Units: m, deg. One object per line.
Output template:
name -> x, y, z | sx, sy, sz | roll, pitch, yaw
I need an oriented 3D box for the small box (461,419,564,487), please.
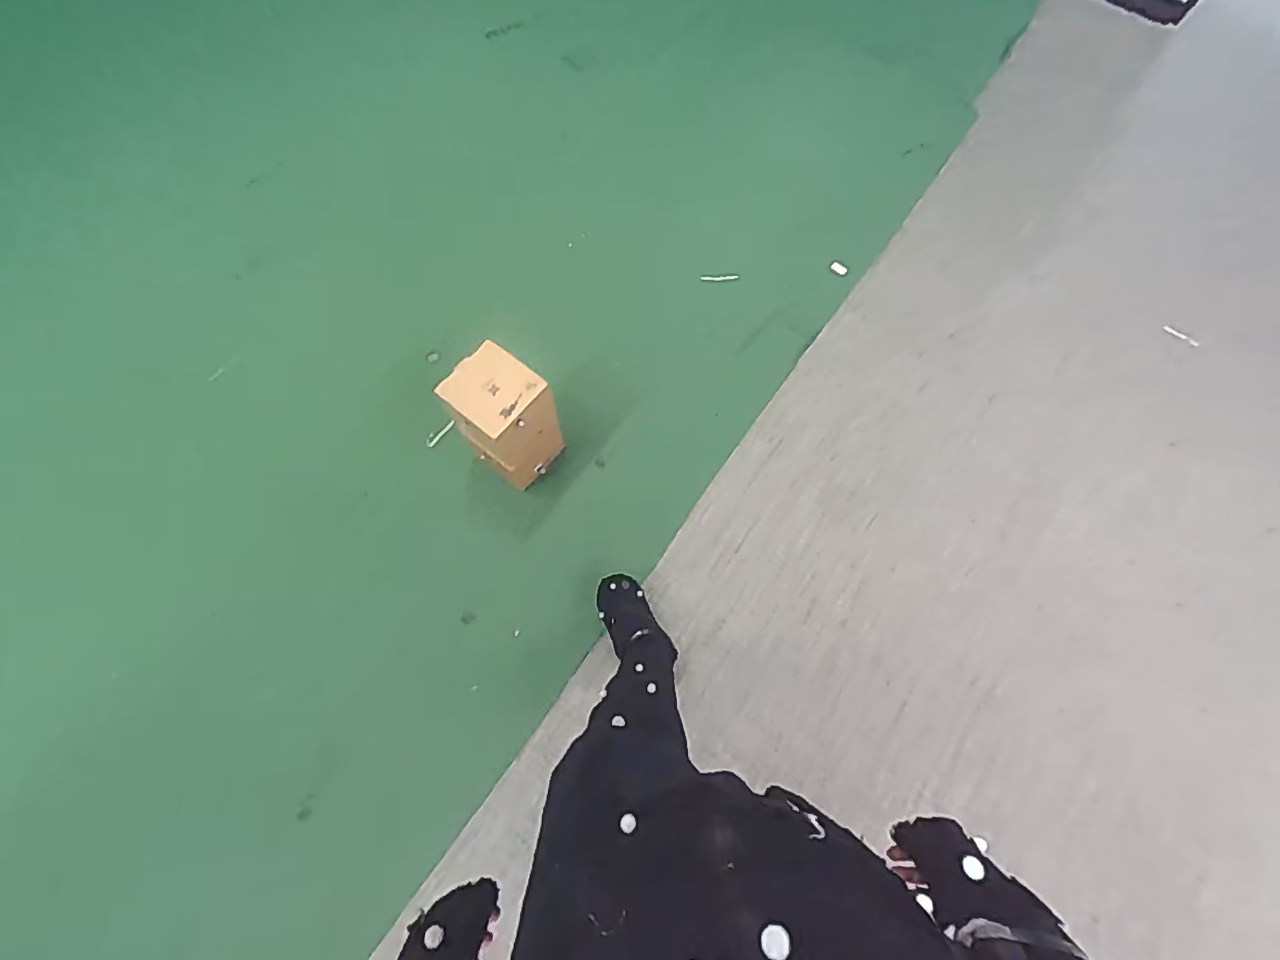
small box -> -0.310, -0.106, 1.352 | 0.179, 0.176, 0.168 | 37, 74, 9

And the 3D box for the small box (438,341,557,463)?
small box -> -0.306, -0.165, 1.199 | 0.179, 0.176, 0.168 | 37, 74, 11
